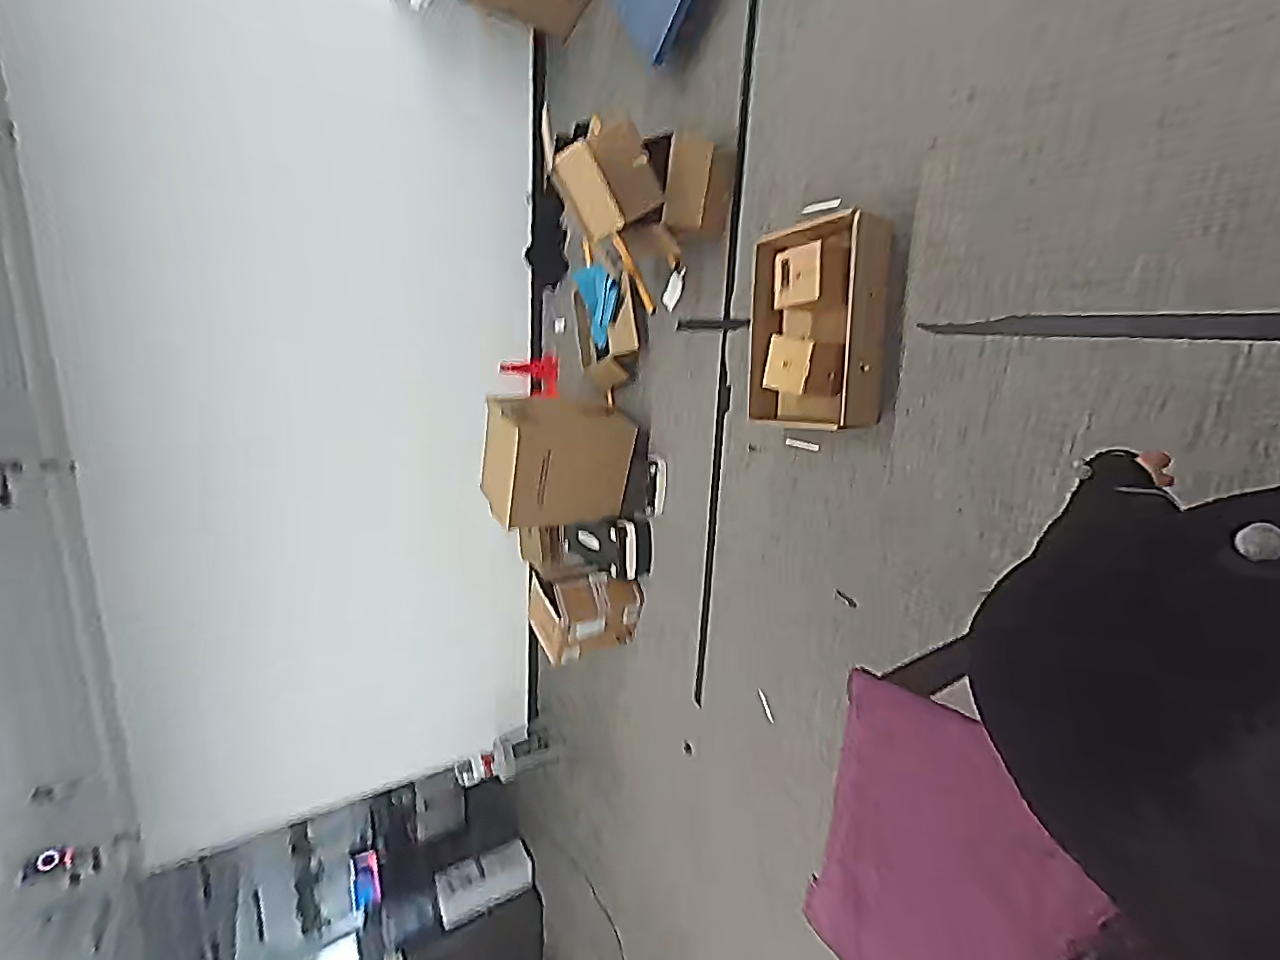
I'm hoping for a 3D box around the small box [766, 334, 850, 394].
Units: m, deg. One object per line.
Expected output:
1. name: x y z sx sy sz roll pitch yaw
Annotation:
1. small box: 0.540 -0.372 1.742 0.179 0.176 0.168 30 119 52
